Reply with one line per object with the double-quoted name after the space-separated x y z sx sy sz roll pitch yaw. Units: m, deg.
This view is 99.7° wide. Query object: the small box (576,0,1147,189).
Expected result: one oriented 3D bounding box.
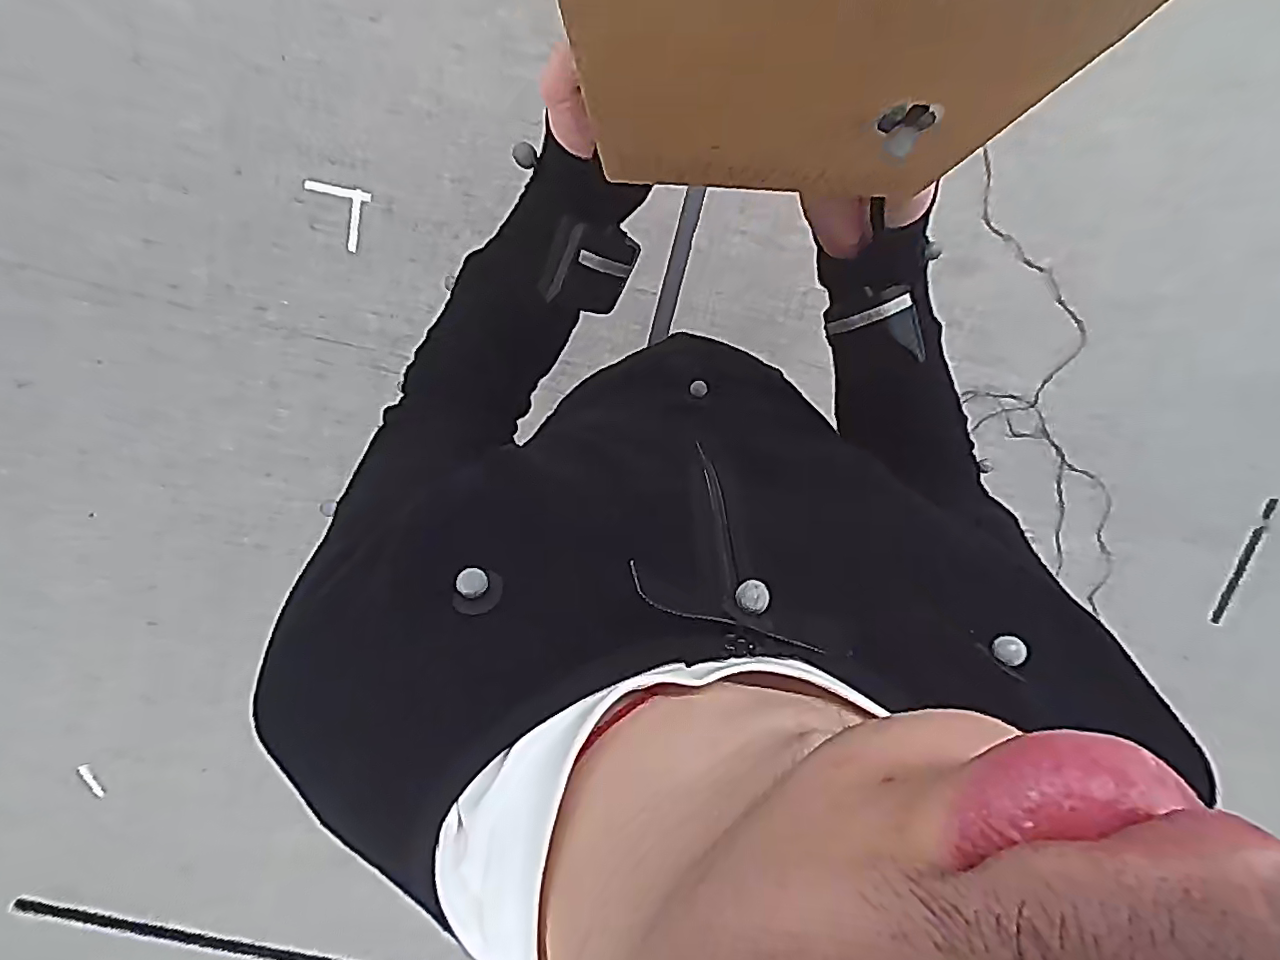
0.072 -0.237 0.220 0.179 0.176 0.168 4 99 2 "small box"
